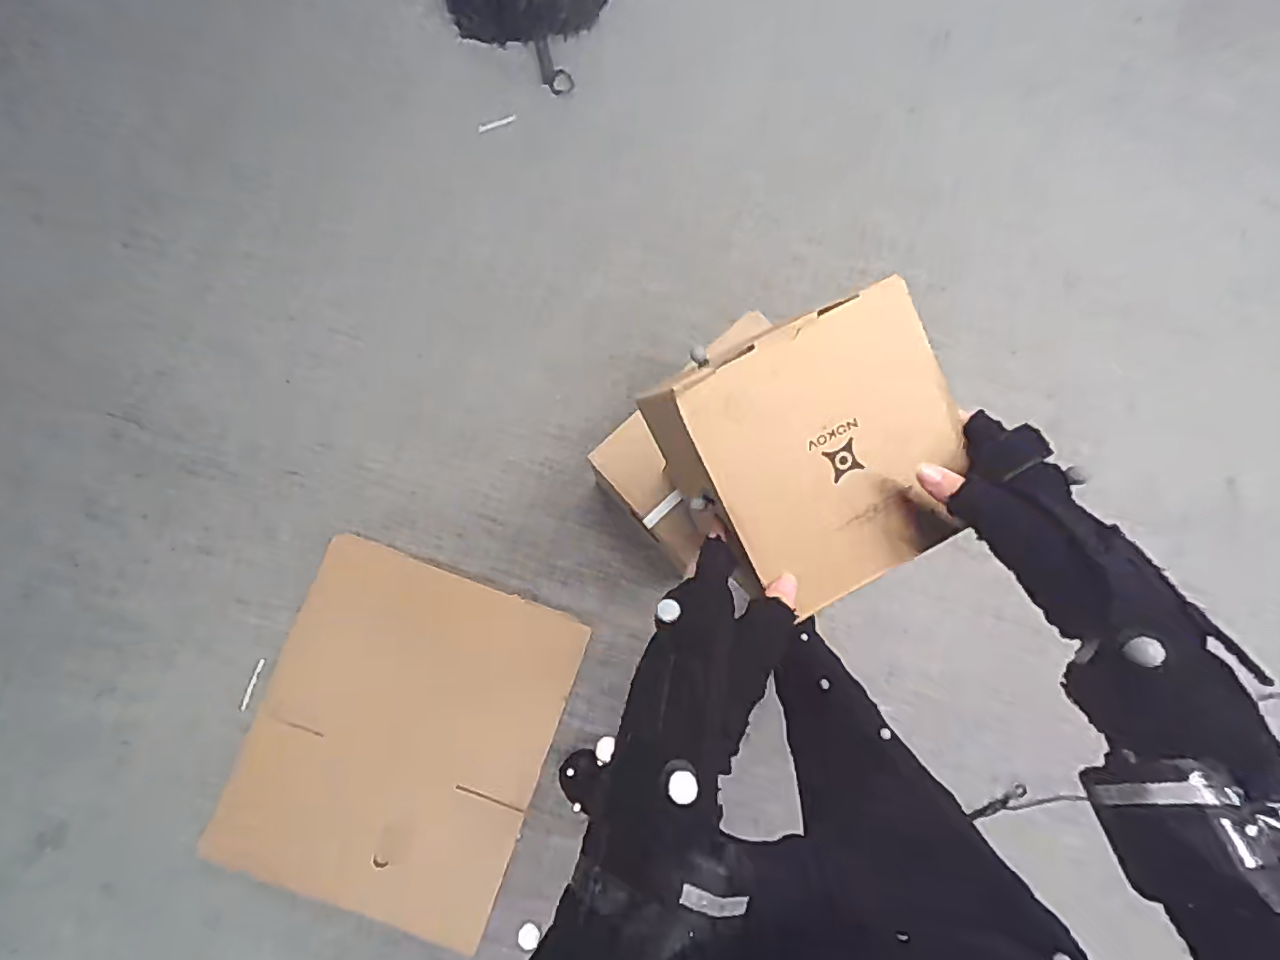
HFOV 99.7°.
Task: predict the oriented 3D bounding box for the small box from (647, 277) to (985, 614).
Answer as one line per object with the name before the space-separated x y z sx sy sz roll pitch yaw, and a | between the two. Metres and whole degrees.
small box | 0.120 -0.028 0.437 0.168 0.176 0.179 -29 99 -3
